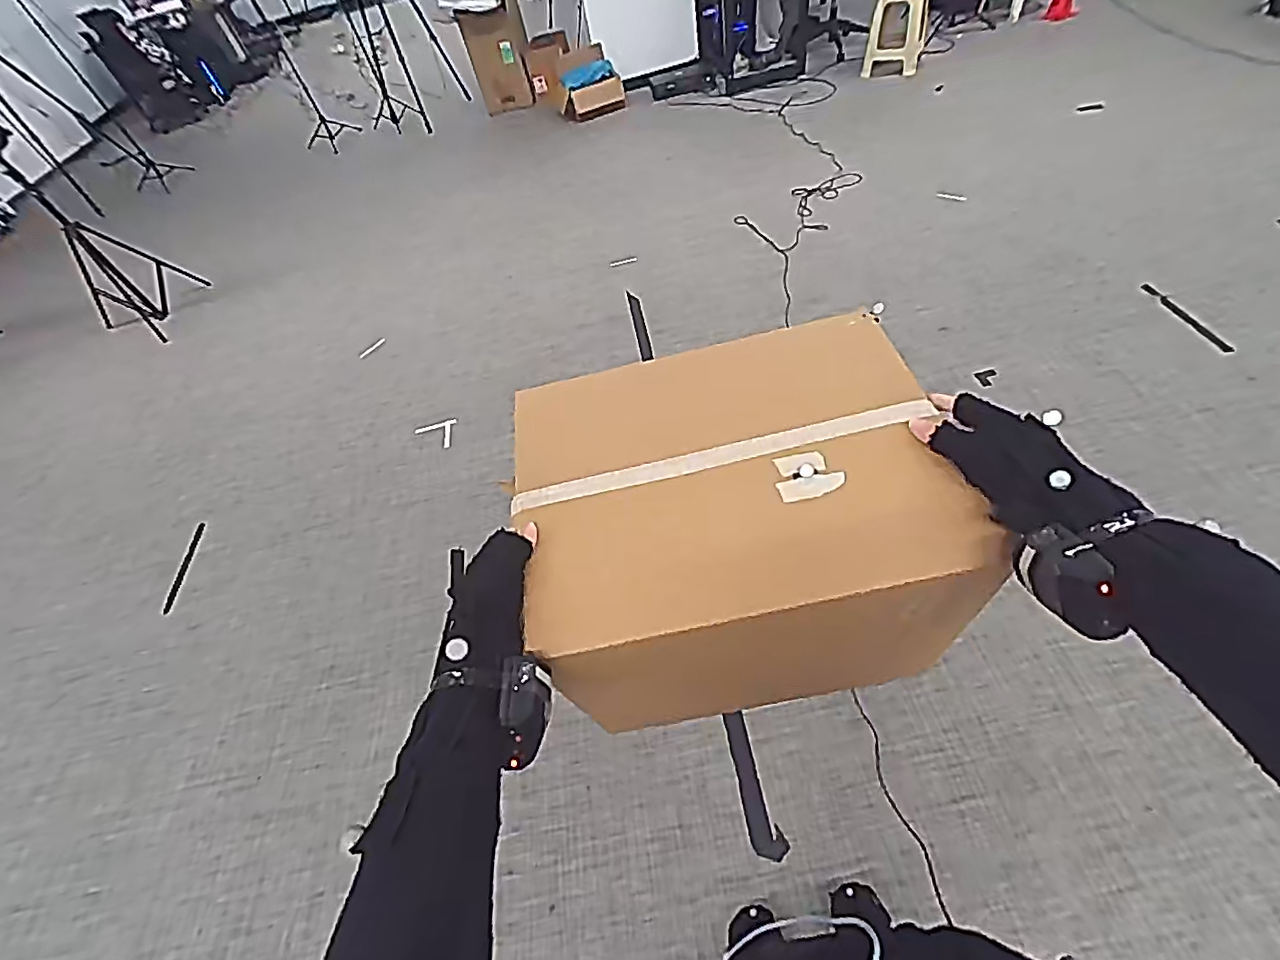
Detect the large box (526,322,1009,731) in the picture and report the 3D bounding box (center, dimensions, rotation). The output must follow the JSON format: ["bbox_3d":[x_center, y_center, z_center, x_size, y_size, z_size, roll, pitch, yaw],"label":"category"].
[{"bbox_3d":[0.106,0.070,0.648,0.408,0.320,0.320,-13,54,2],"label":"large box"}]
